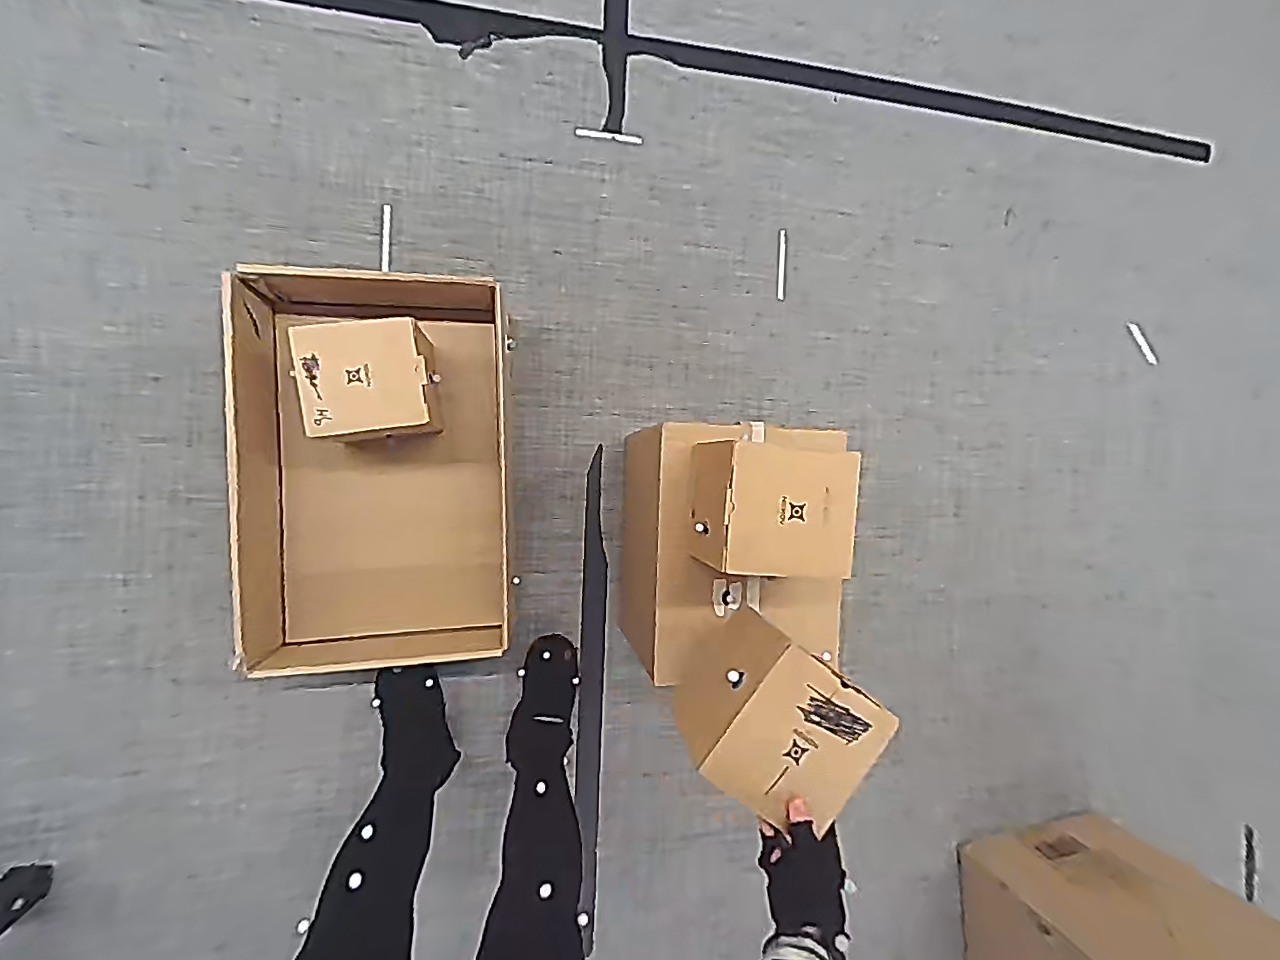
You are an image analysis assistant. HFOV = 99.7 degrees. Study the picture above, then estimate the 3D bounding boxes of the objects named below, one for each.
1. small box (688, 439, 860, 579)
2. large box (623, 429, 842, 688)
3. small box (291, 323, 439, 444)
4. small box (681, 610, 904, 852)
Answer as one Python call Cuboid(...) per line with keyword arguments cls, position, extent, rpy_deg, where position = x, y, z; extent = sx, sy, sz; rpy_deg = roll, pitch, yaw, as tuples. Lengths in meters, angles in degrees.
Cuboid(cls="small box", position=(0.174, 0.036, 0.749), extent=(0.179, 0.176, 0.168), rpy_deg=(4, 91, -12))
Cuboid(cls="large box", position=(0.146, 0.116, 0.993), extent=(0.320, 0.320, 0.408), rpy_deg=(1, 91, -11))
Cuboid(cls="small box", position=(-0.434, -0.152, 0.886), extent=(0.179, 0.176, 0.168), rpy_deg=(-8, 93, -13))
Cuboid(cls="small box", position=(0.170, 0.287, 0.664), extent=(0.168, 0.176, 0.179), rpy_deg=(38, 87, -6))
